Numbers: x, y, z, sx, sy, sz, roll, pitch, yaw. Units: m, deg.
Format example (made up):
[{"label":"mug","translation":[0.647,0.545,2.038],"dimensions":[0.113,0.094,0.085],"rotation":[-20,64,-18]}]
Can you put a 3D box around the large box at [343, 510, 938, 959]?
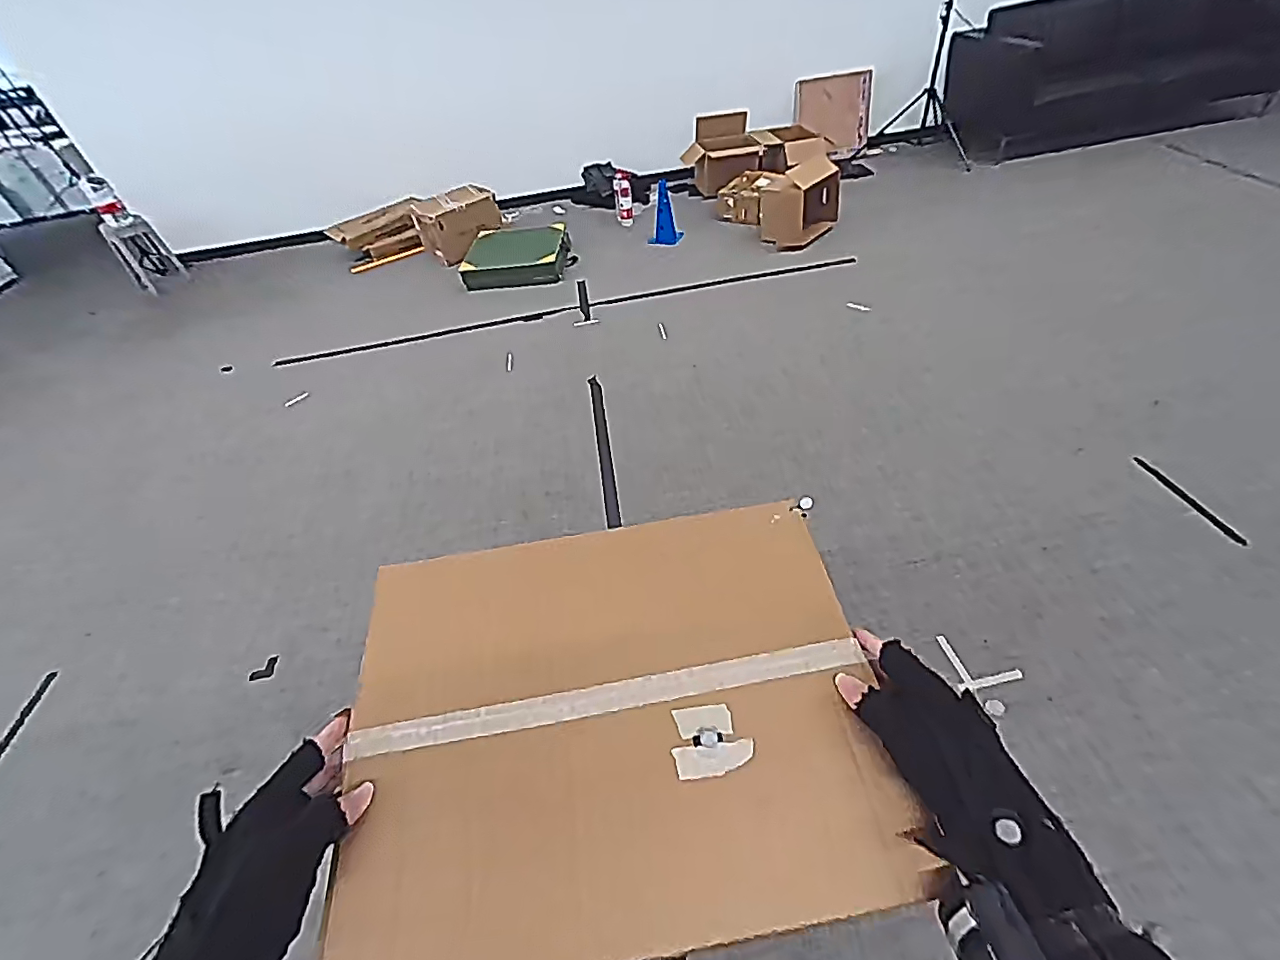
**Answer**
[{"label":"large box","translation":[-0.011,0.272,0.555],"dimensions":[0.408,0.320,0.320],"rotation":[-9,52,-3]}]
